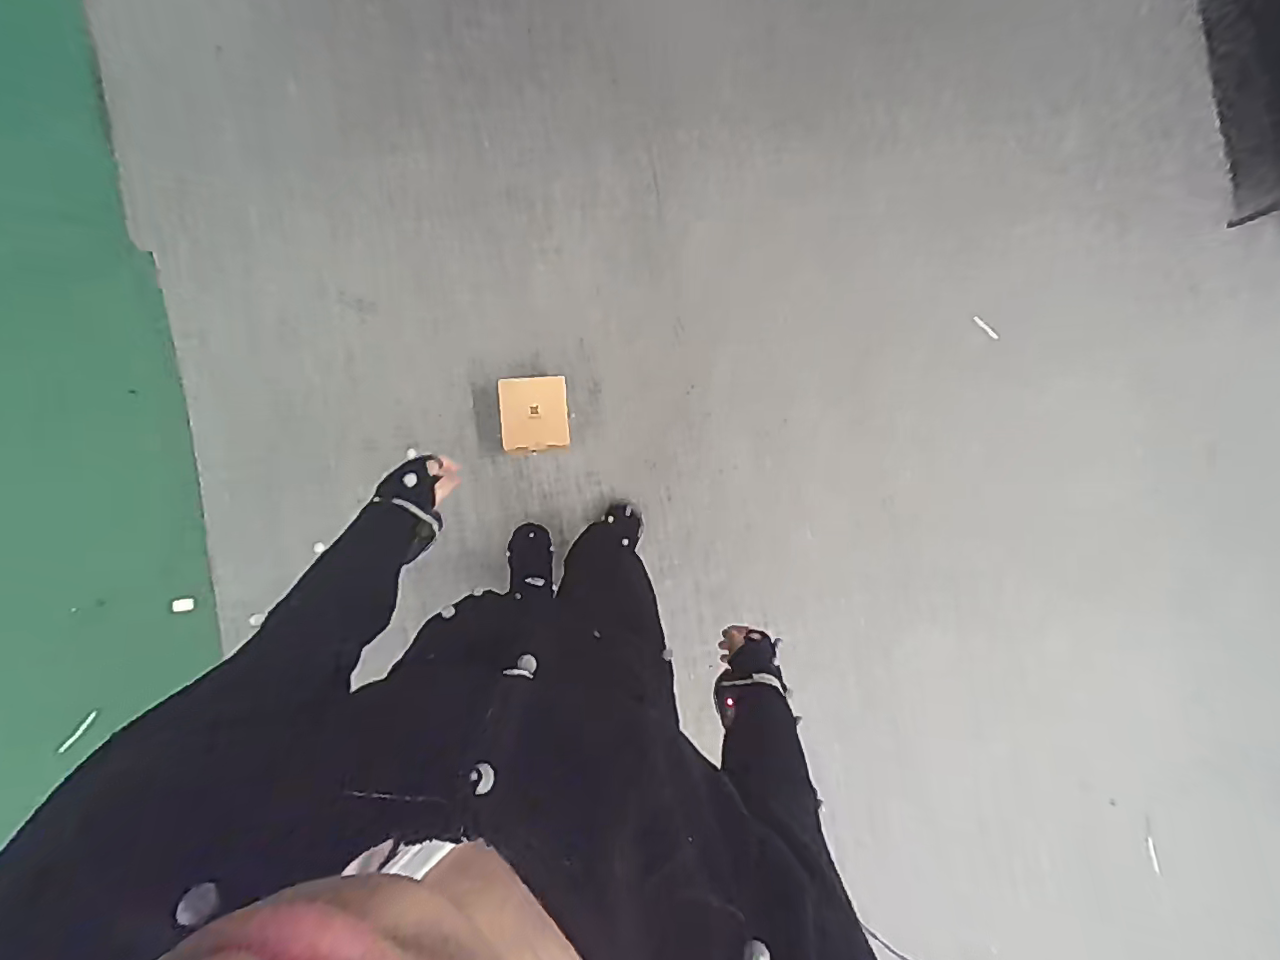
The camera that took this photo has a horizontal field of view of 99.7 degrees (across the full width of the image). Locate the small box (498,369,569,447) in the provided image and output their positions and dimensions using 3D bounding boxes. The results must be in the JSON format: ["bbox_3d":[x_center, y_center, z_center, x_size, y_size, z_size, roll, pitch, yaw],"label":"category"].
[{"bbox_3d":[-0.276,-0.184,1.413,0.168,0.176,0.179,-5,90,-9],"label":"small box"}]
